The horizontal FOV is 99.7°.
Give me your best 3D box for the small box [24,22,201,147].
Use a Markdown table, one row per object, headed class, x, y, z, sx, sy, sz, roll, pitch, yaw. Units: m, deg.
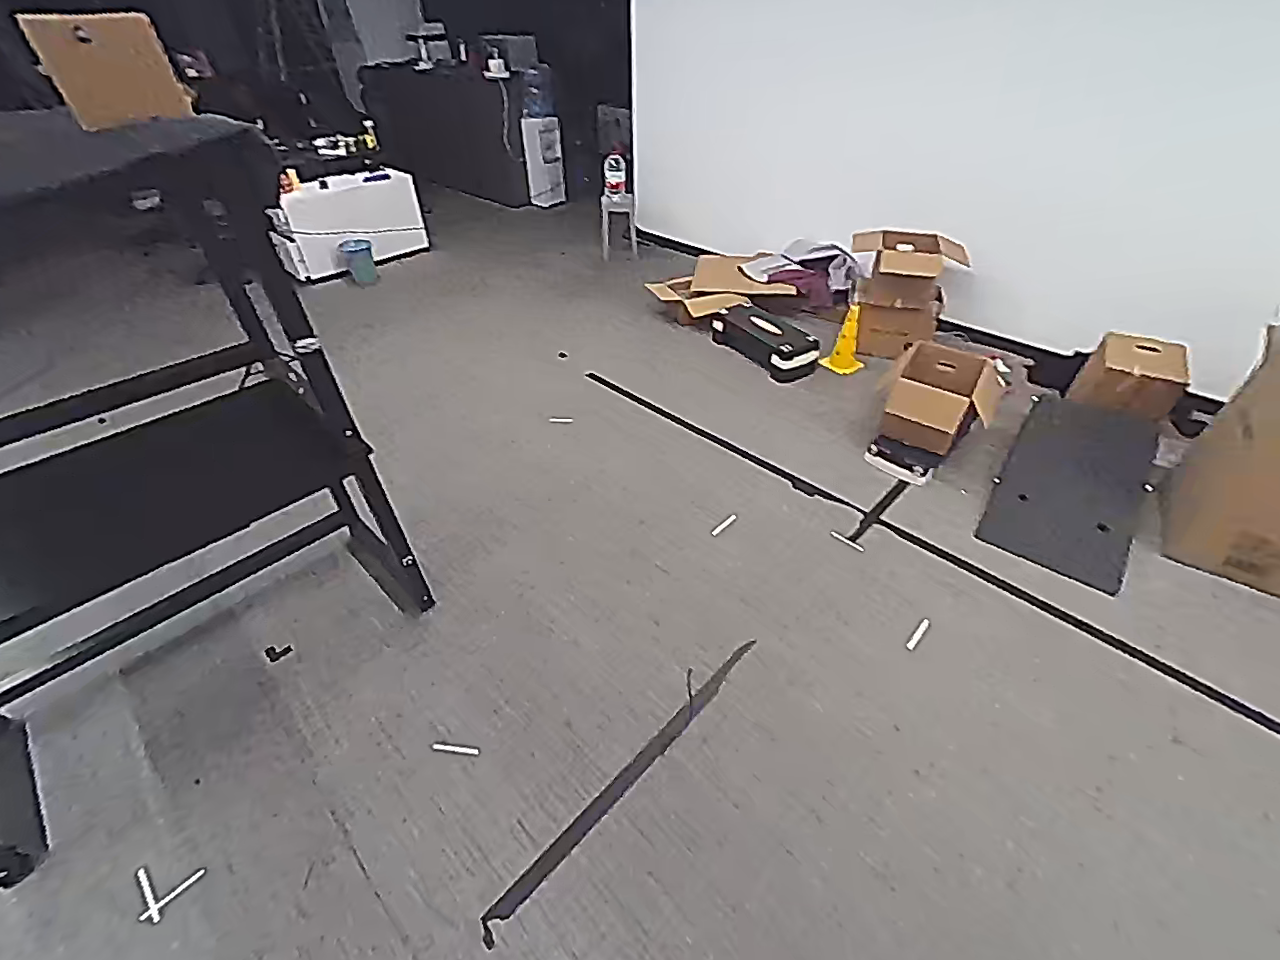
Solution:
| class | x | y | z | sx | sy | sz | roll | pitch | yaw |
| --- | --- | --- | --- | --- | --- | --- | --- | --- | --- |
| small box | -0.944 | -0.714 | 0.977 | 0.168 | 0.176 | 0.179 | -32 | 49 | -29 |
